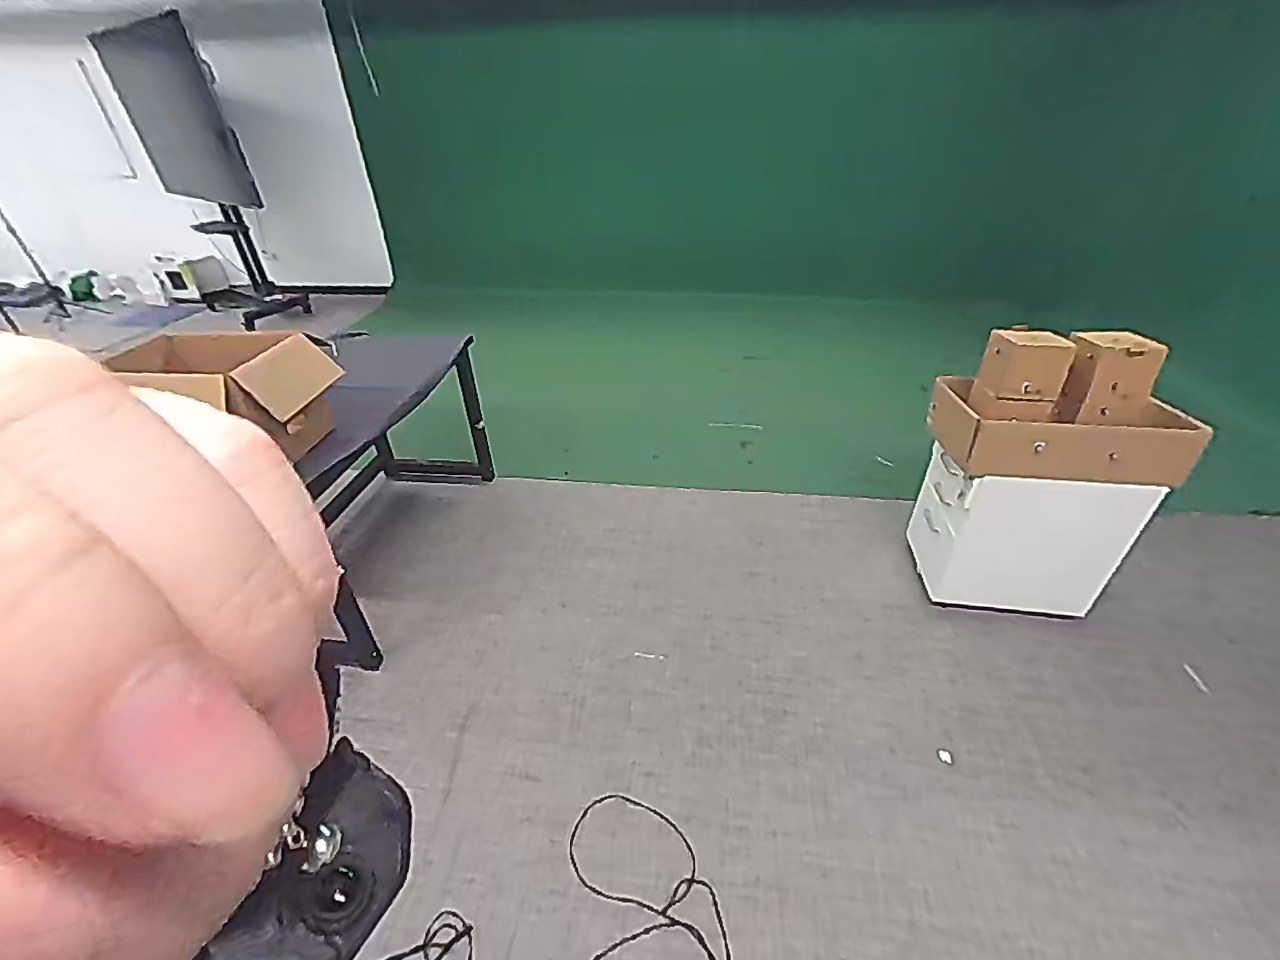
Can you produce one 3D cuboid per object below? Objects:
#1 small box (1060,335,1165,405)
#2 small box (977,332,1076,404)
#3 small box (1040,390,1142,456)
[{"bbox_3d":[1.401,-0.334,1.631,0.168,0.176,0.179,1,30,7],"label":"small box"},{"bbox_3d":[1.168,-0.345,1.652,0.168,0.176,0.179,3,30,7],"label":"small box"},{"bbox_3d":[1.409,-0.189,1.706,0.168,0.176,0.179,1,28,9],"label":"small box"}]
